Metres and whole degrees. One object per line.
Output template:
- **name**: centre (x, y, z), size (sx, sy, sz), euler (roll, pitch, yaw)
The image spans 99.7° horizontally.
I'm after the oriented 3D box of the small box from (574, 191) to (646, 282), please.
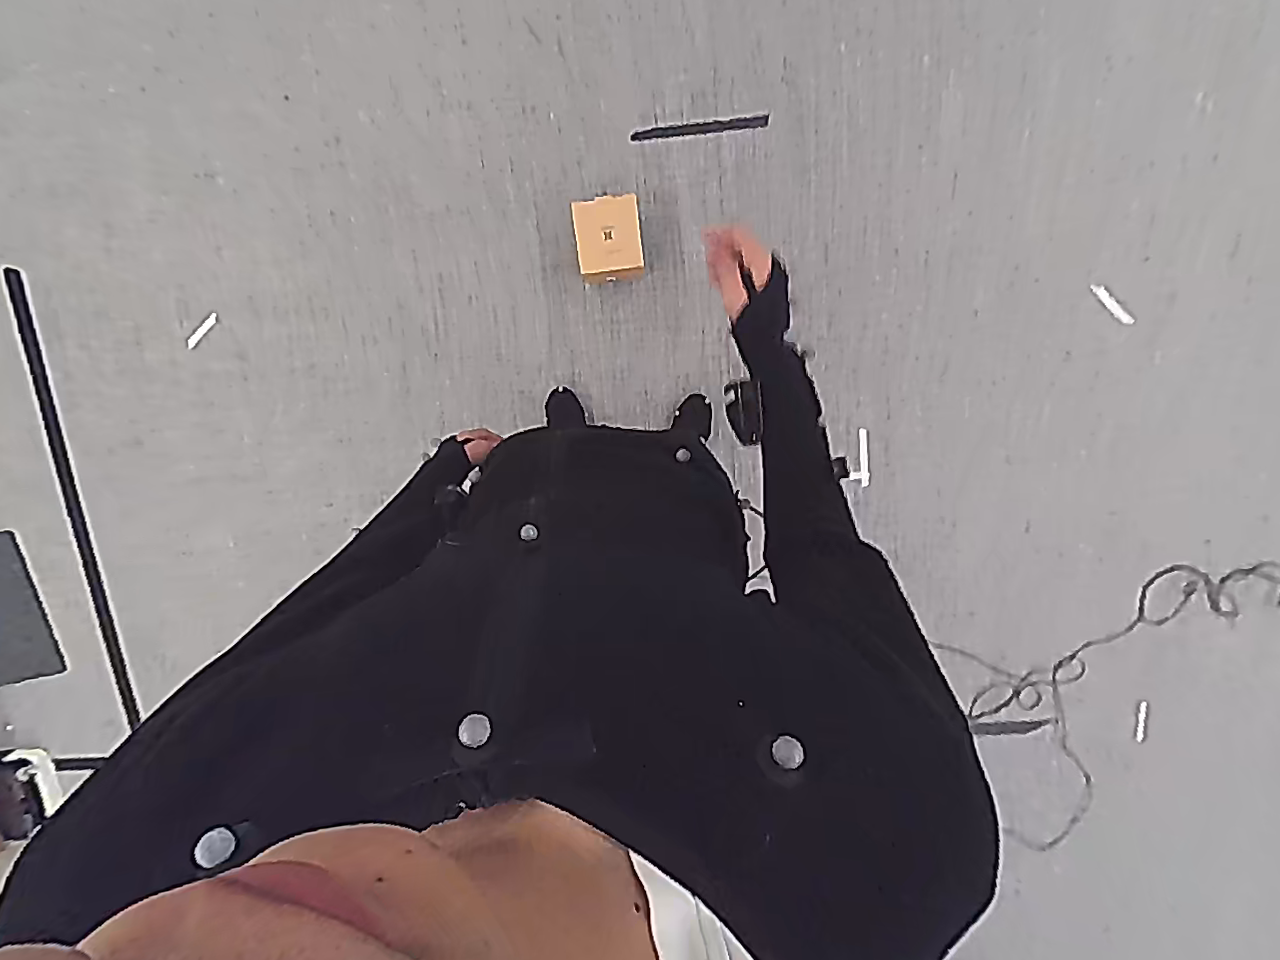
- **small box**: centre (-0.074, -0.638, 1.431), size (0.168, 0.176, 0.179), euler (-6, 101, 3)
